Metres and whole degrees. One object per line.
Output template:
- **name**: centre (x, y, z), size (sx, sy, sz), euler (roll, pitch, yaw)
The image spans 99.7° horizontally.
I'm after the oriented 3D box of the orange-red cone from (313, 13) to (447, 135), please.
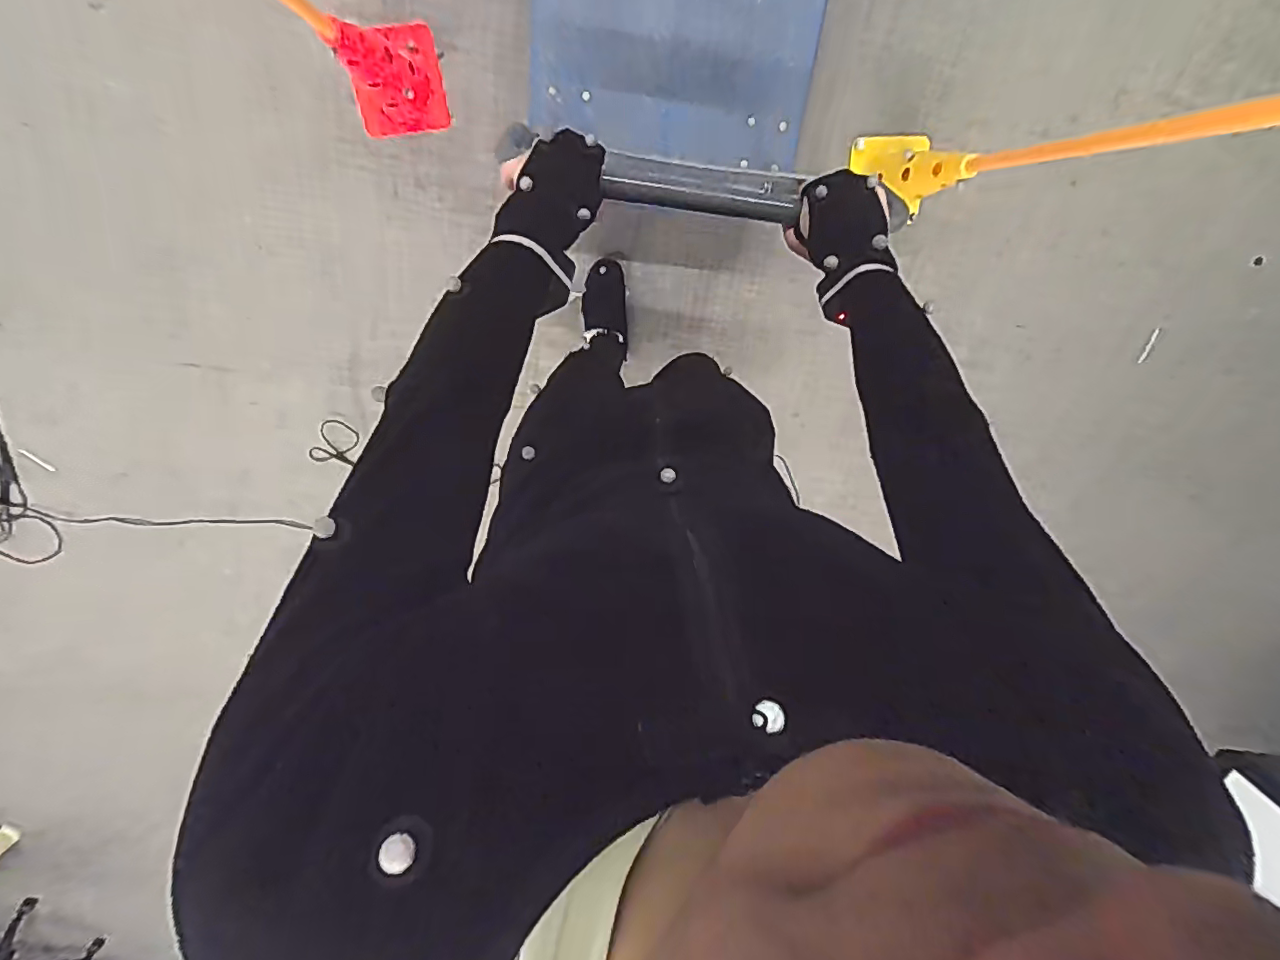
- **orange-red cone**: centre (-0.534, -0.820, 1.052), size (0.199, 0.360, 0.198), euler (-6, 115, 0)
